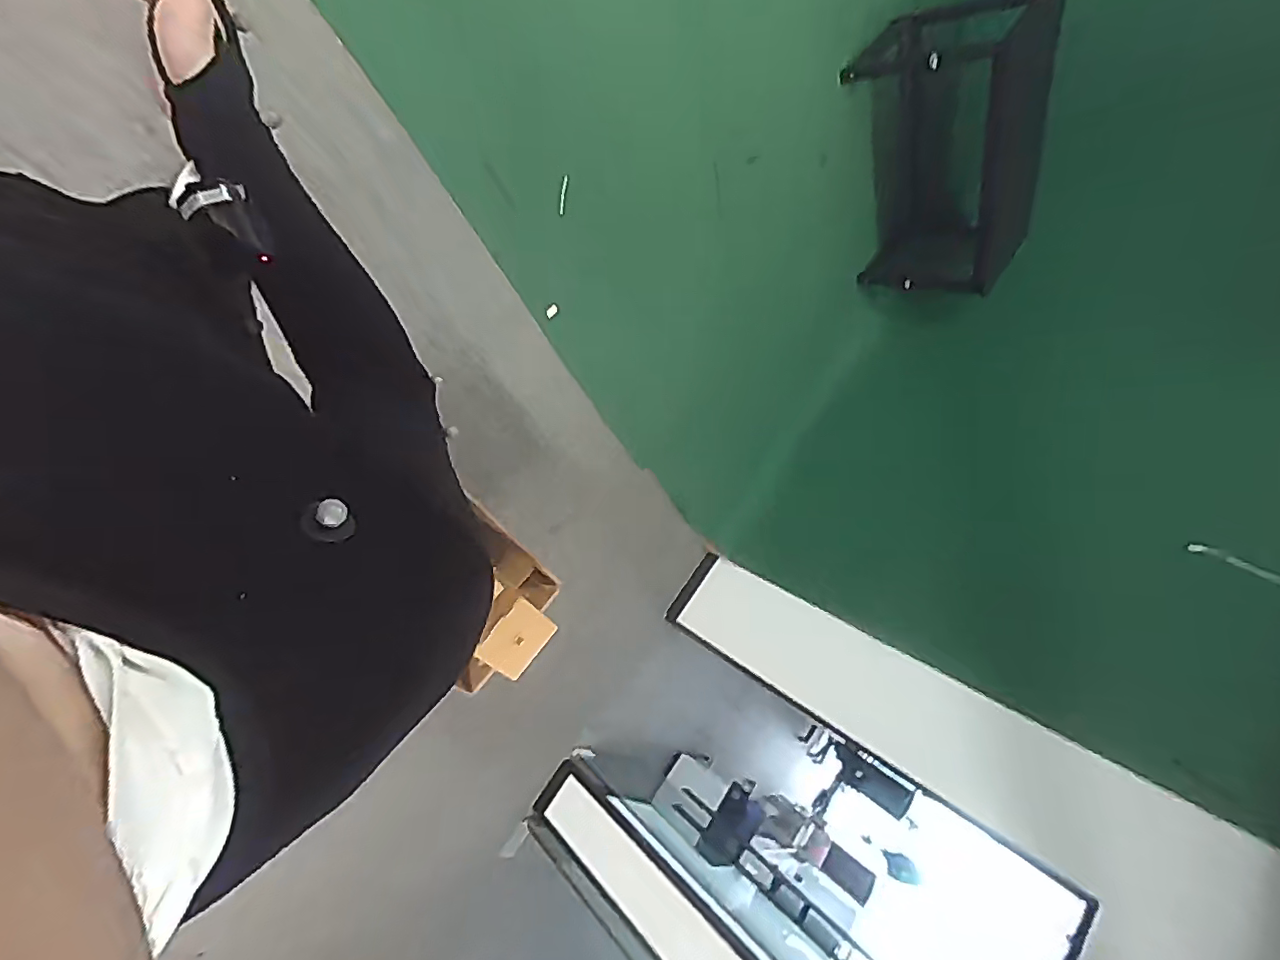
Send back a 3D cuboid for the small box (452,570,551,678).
[{"bbox_3d":[-0.360,0.351,1.338,0.168,0.176,0.179,-50,137,-17],"label":"small box"}]
